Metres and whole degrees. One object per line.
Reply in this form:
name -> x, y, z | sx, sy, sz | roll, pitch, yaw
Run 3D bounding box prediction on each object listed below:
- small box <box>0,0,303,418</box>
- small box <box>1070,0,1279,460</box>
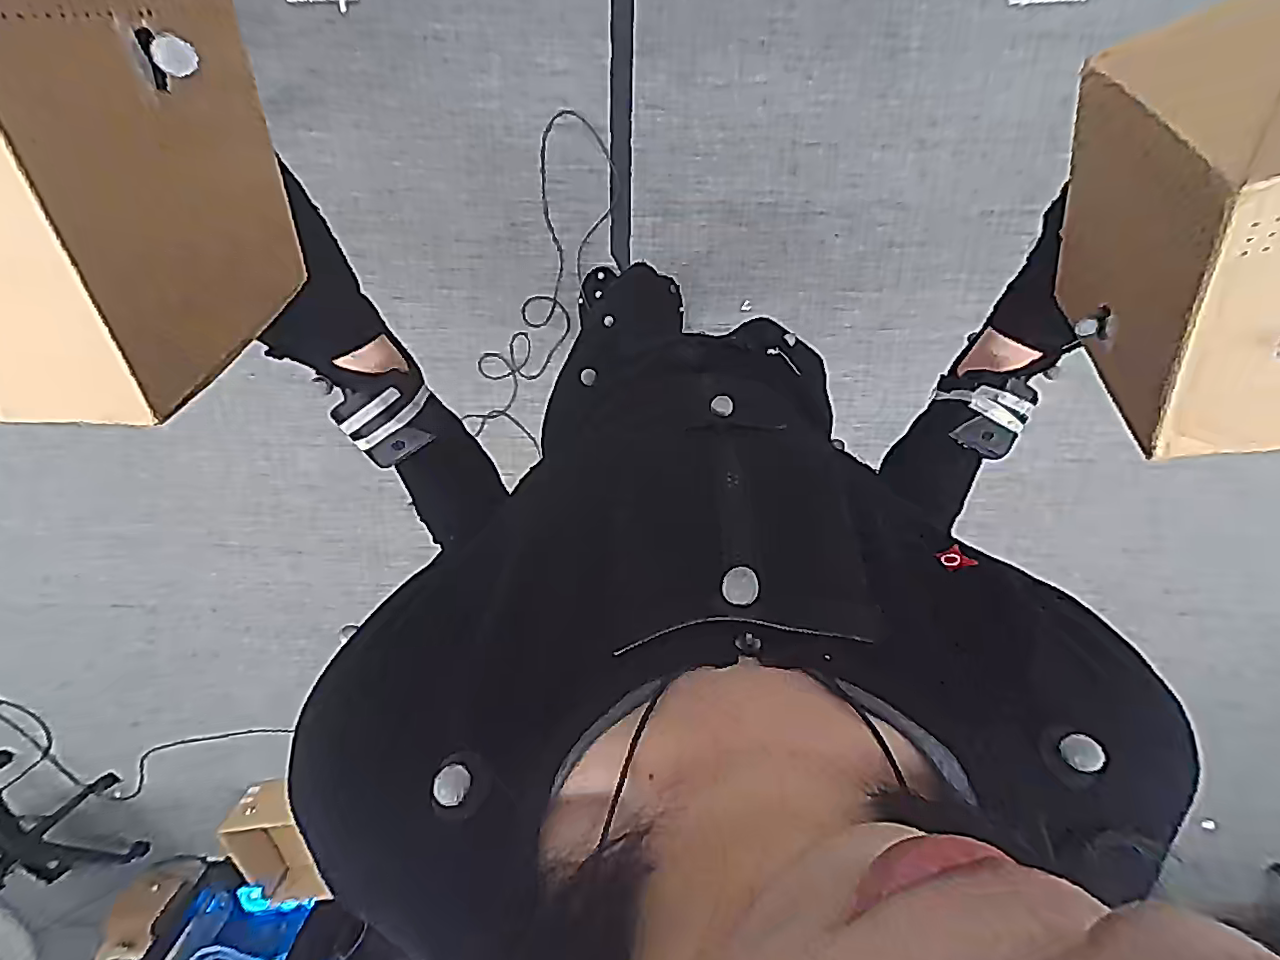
small box -> -0.280, -0.145, 0.222 | 0.168, 0.179, 0.176 | 3, 131, -9
small box -> 0.345, -0.138, 0.263 | 0.168, 0.179, 0.176 | -8, 138, 24
